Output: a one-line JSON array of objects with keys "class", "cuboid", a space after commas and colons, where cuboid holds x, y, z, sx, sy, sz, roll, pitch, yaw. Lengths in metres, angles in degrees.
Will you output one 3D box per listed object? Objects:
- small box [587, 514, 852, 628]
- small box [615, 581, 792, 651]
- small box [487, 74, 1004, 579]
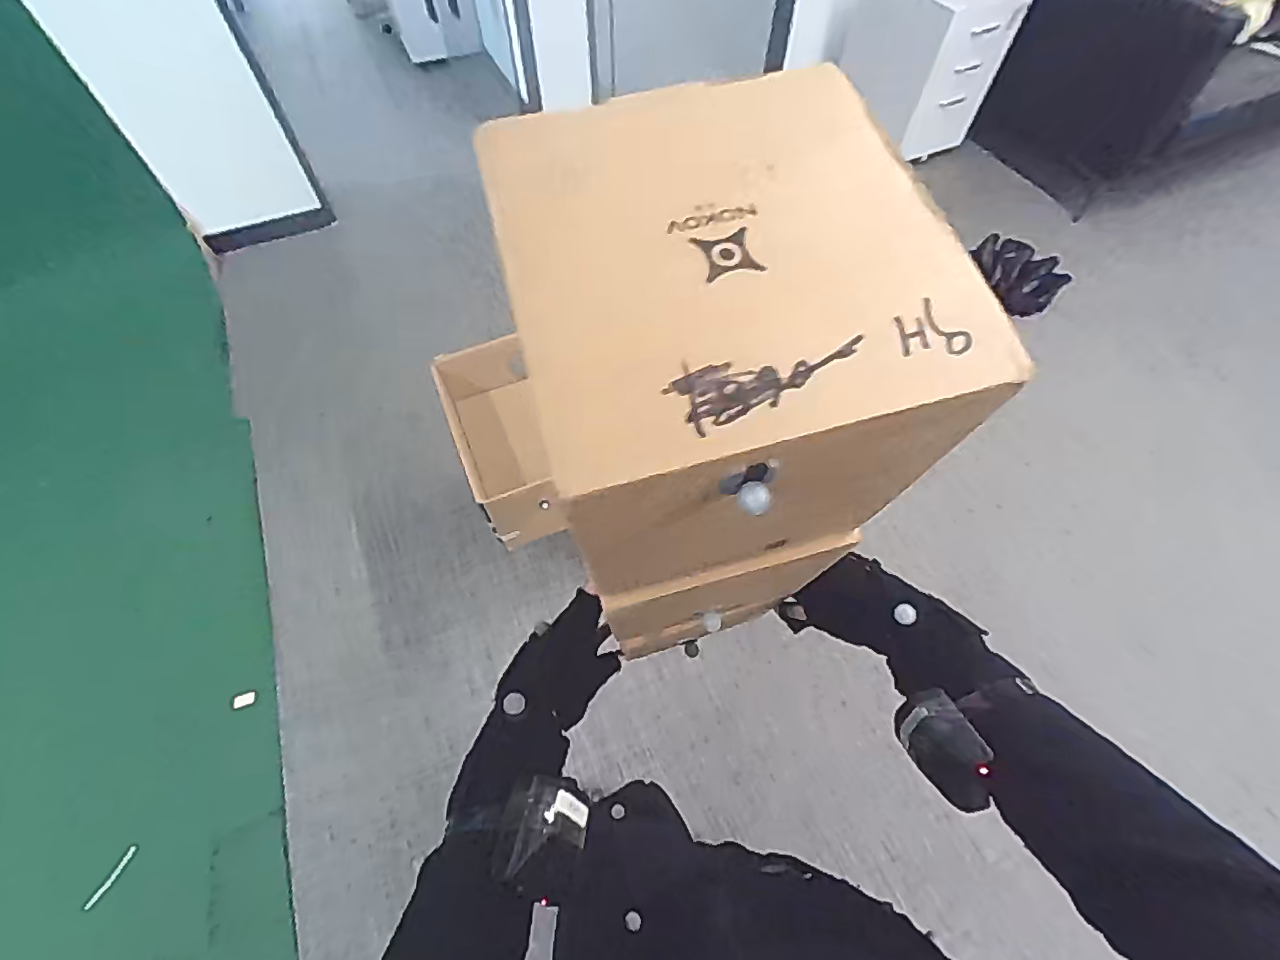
[{"class": "small box", "cuboid": [0.036, 0.006, 0.437, 0.168, 0.176, 0.179, -14, 68, -4]}, {"class": "small box", "cuboid": [0.038, 0.073, 0.588, 0.168, 0.176, 0.179, -18, 70, -5]}, {"class": "small box", "cuboid": [0.031, -0.065, 0.290, 0.168, 0.176, 0.179, -15, 67, -4]}]
